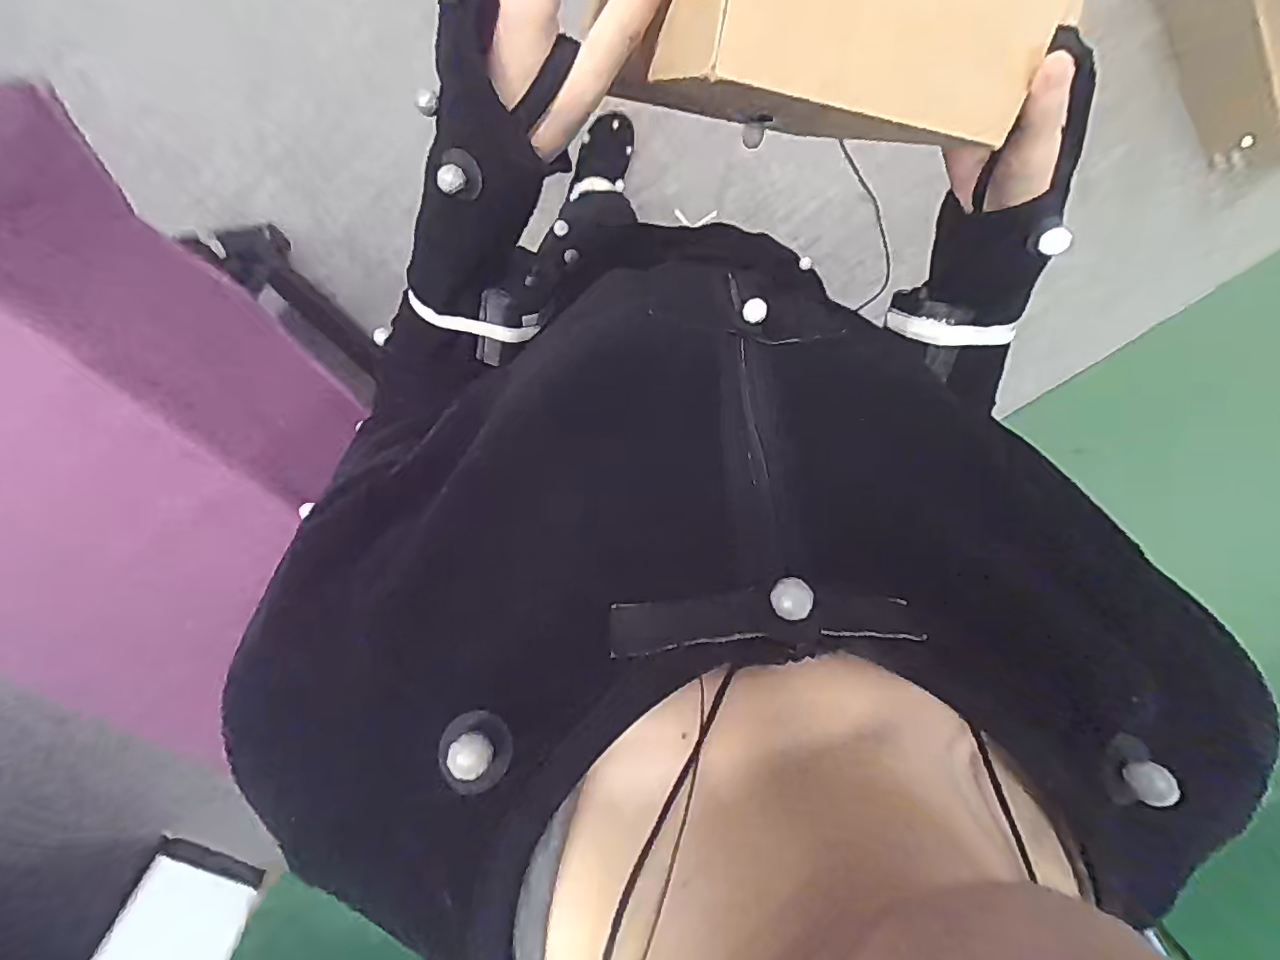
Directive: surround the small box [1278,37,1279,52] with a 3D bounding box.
[{"bbox_3d":[1.473,-0.917,1.097,0.168,0.176,0.179,-36,116,15],"label":"small box"}]
